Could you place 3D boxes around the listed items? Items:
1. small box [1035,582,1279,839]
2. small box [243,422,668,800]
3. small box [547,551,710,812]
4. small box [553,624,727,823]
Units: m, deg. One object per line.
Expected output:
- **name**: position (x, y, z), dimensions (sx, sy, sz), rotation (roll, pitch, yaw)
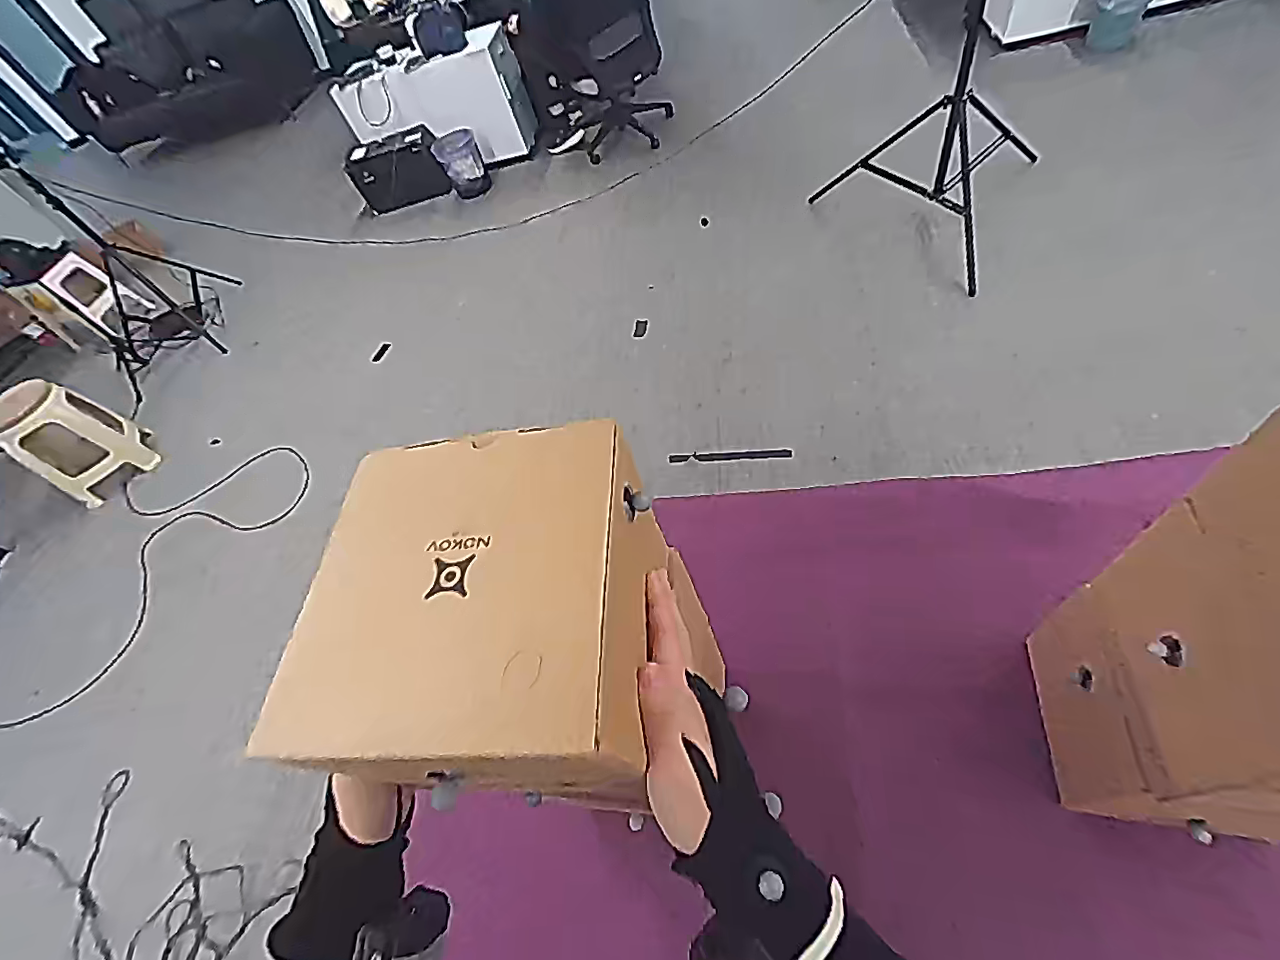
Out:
- **small box**: position (0.499, 0.212, 0.500), dimensions (0.168, 0.176, 0.179), rotation (0, 56, 17)
- **small box**: position (-0.077, 0.091, 0.332), dimensions (0.168, 0.176, 0.179), rotation (-6, 55, 11)
- **small box**: position (-0.034, 0.178, 0.475), dimensions (0.168, 0.176, 0.179), rotation (-4, 56, 15)
- **small box**: position (0.006, 0.271, 0.605), dimensions (0.168, 0.176, 0.179), rotation (-3, 56, 15)
